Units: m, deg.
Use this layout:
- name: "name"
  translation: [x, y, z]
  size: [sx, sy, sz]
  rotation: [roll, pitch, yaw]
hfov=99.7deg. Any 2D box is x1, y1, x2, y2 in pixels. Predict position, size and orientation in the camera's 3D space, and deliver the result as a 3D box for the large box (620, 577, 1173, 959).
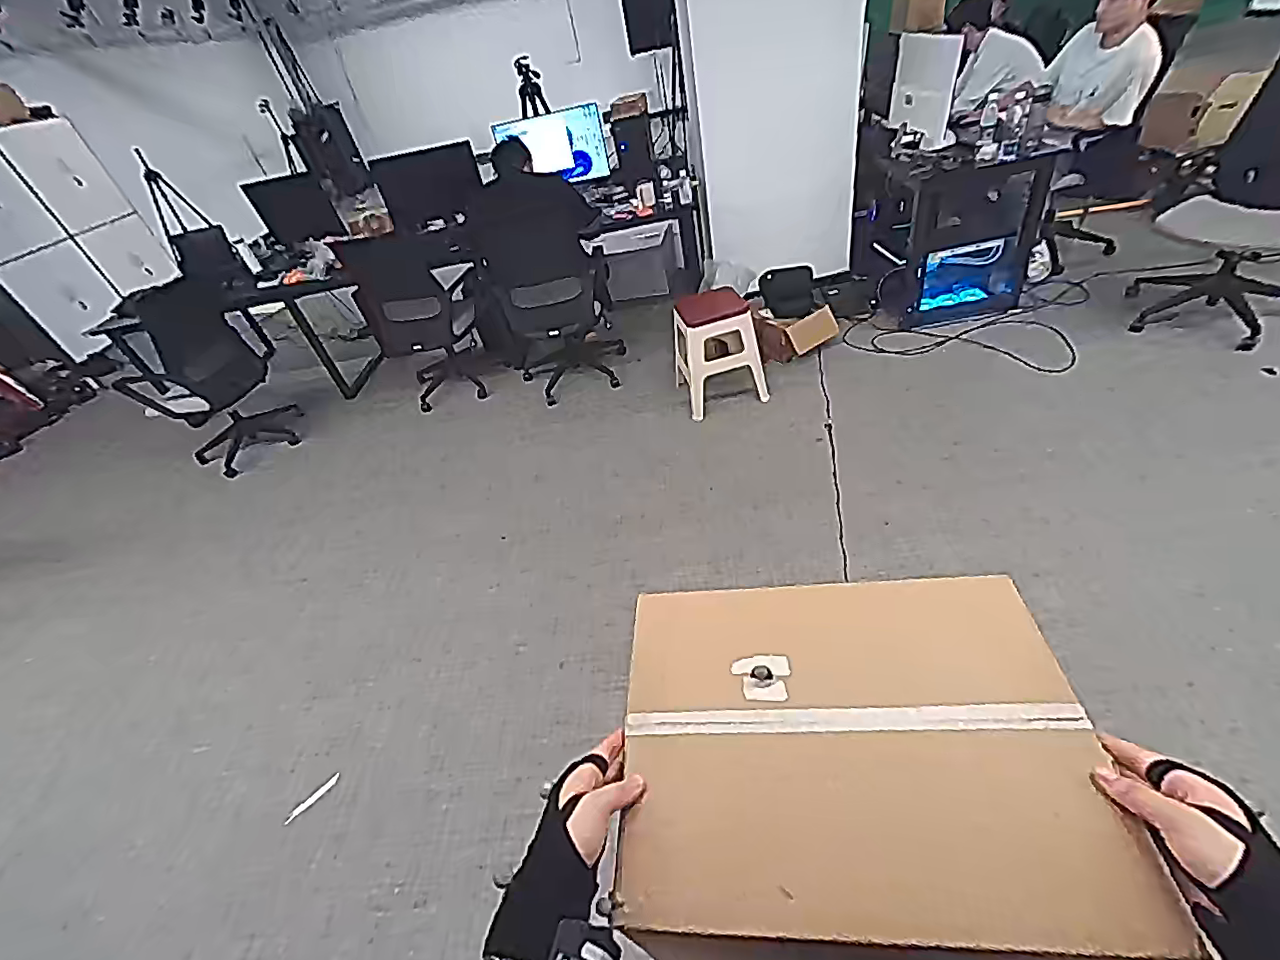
- name: "large box"
  translation: [0.215, 0.340, 0.610]
  size: [0.408, 0.320, 0.320]
  rotation: [-7, 40, 10]
